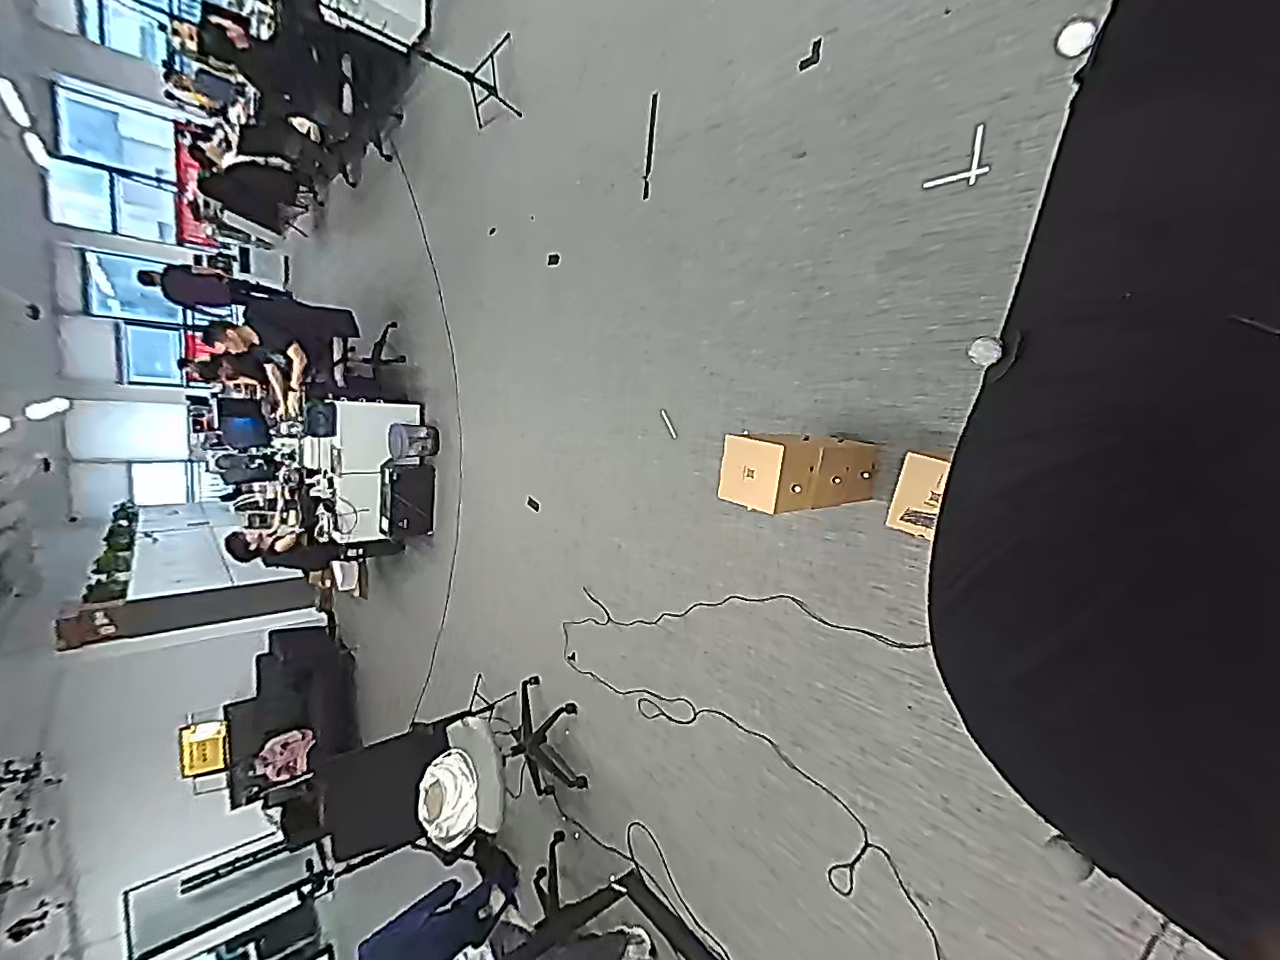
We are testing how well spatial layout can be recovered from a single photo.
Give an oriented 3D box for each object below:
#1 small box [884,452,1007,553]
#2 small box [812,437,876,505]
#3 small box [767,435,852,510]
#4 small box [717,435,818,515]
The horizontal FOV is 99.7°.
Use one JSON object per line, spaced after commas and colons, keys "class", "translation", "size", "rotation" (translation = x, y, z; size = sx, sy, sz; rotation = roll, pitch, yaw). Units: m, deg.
{"class": "small box", "translation": [0.682, 0.043, 1.204], "size": [0.168, 0.176, 0.179], "rotation": [26, 110, 45]}
{"class": "small box", "translation": [0.562, -0.034, 1.579], "size": [0.179, 0.176, 0.168], "rotation": [19, 106, 46]}
{"class": "small box", "translation": [0.446, -0.027, 1.461], "size": [0.179, 0.176, 0.168], "rotation": [21, 108, 46]}
{"class": "small box", "translation": [0.322, -0.020, 1.355], "size": [0.179, 0.176, 0.168], "rotation": [18, 107, 47]}
